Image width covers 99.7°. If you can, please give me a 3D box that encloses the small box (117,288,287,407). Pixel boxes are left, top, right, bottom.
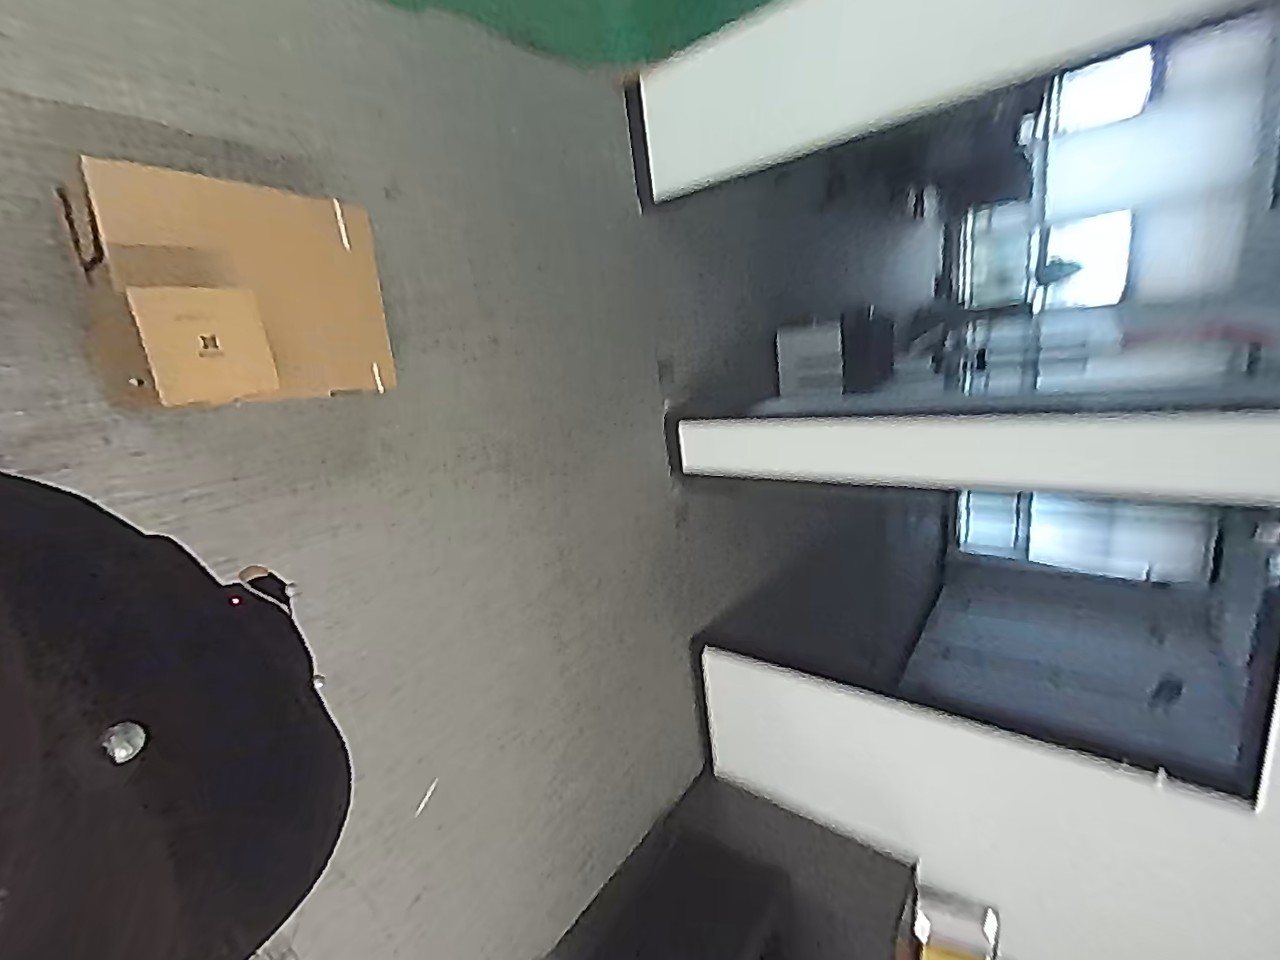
[{"bbox_3d":[-0.735,-0.220,0.911,0.168,0.176,0.179,-23,111,-50],"label":"small box"}]
